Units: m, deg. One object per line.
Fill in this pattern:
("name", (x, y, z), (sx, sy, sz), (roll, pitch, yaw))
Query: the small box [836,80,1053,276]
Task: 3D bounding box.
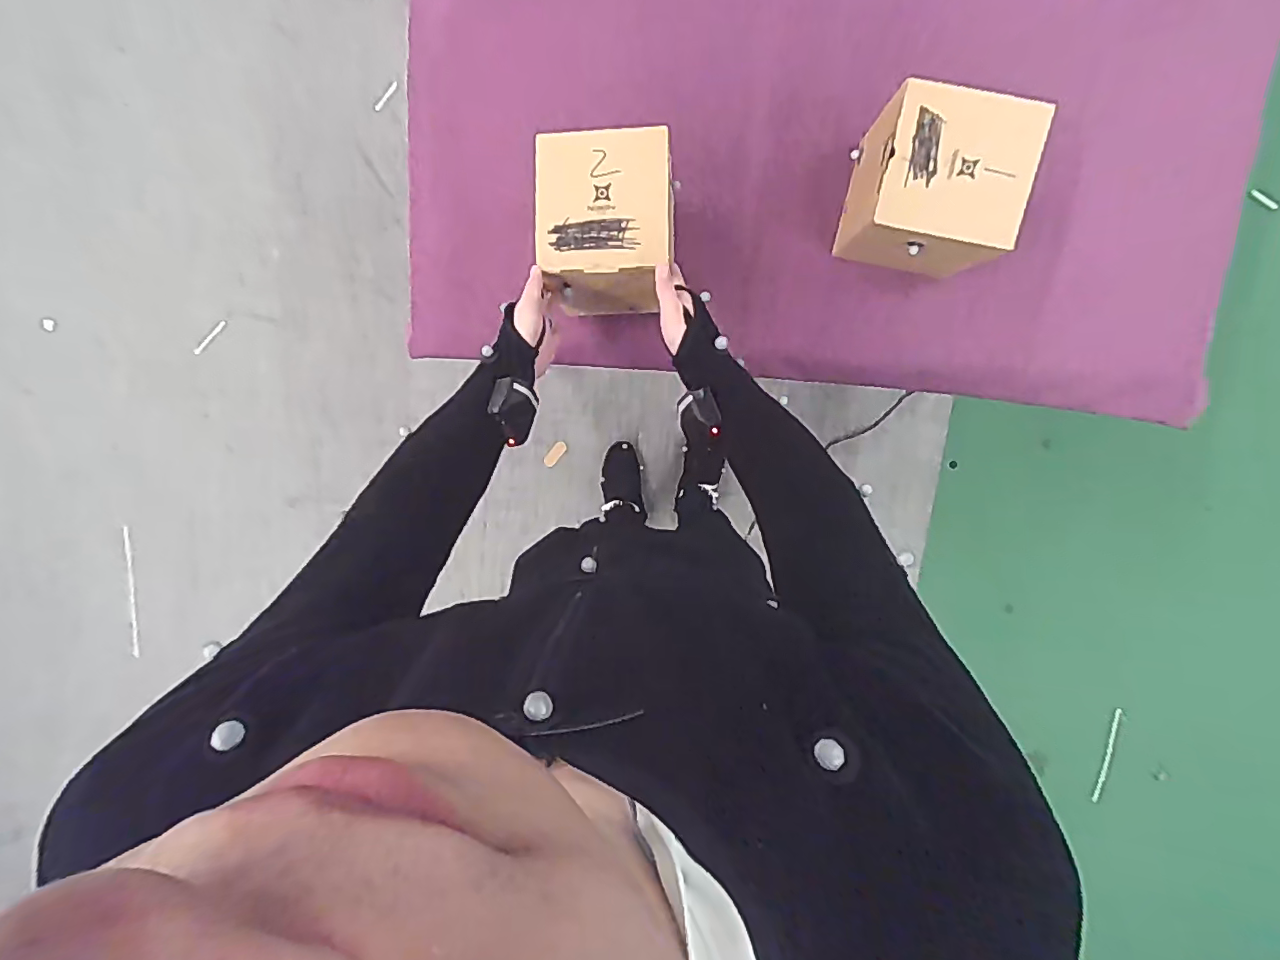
("small box", (0.384, -0.385, 0.721), (0.179, 0.176, 0.168), (12, 100, 1))
